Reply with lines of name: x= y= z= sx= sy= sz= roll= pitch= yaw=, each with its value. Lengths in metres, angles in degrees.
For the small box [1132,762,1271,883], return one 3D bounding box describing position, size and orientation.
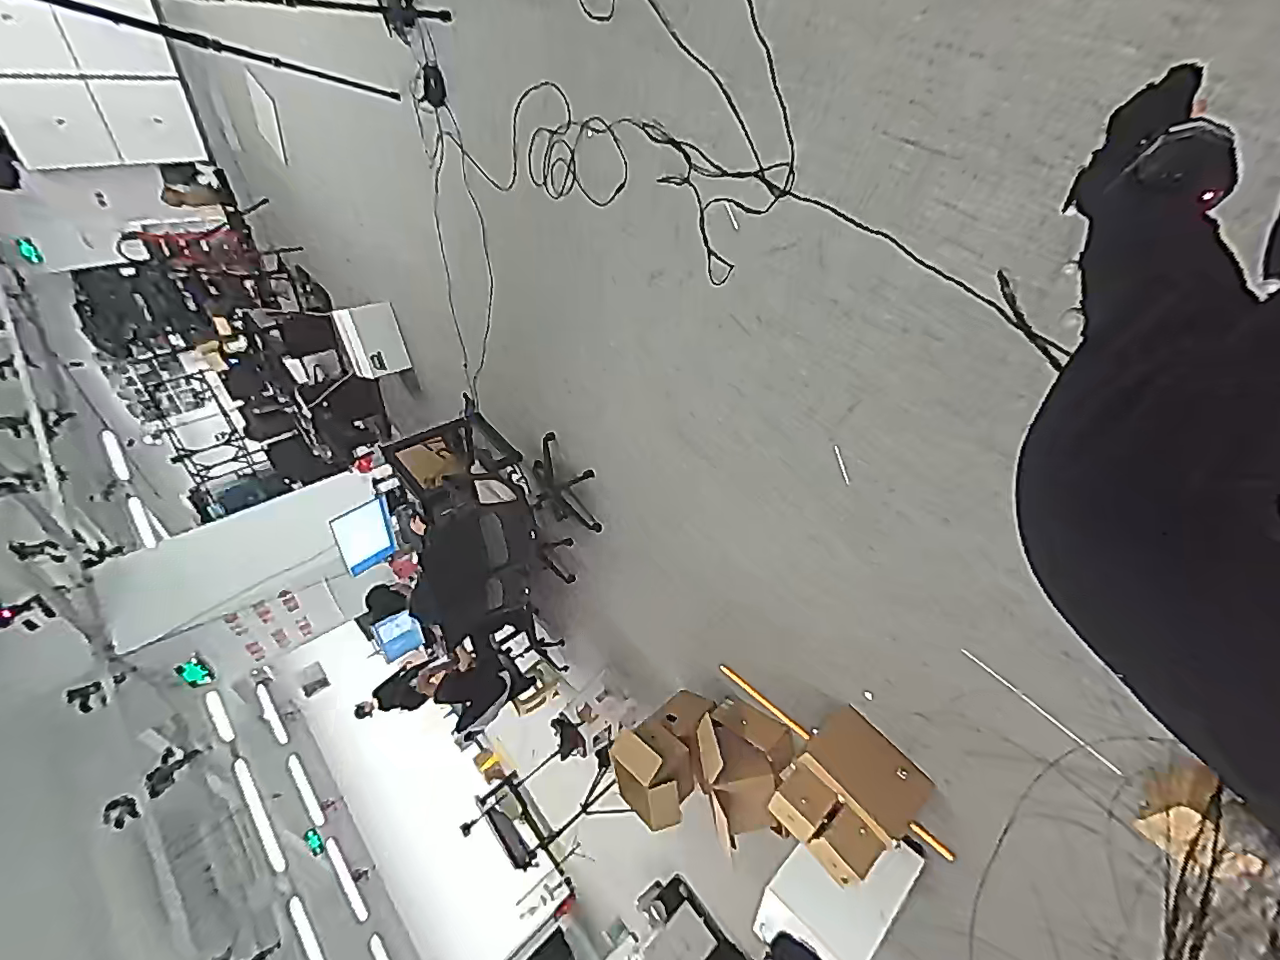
small box: x=1.386 y=0.840 z=1.333 sx=0.168 sy=0.176 sz=0.179 roll=41 pitch=141 yaw=27
